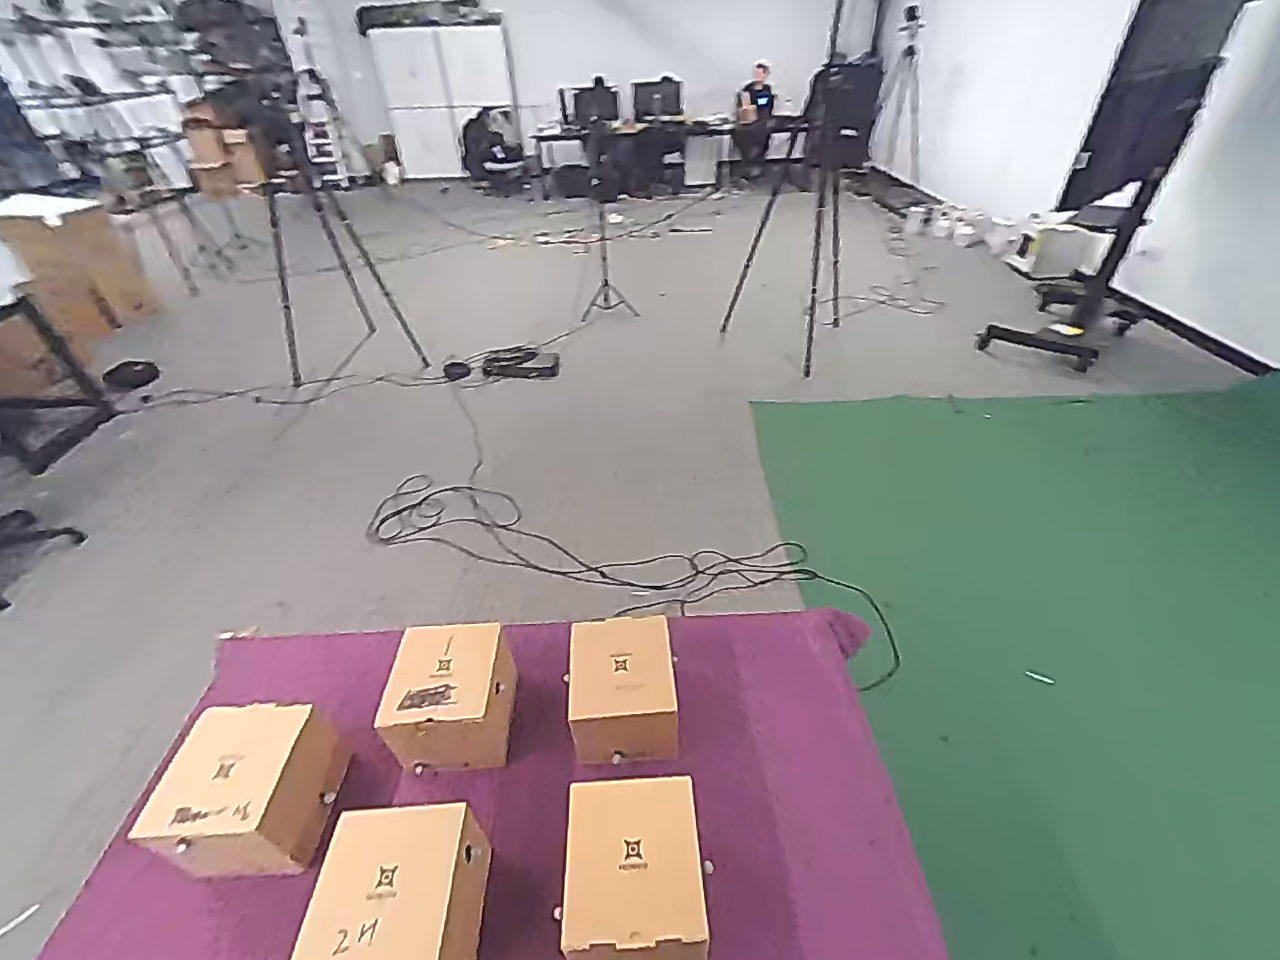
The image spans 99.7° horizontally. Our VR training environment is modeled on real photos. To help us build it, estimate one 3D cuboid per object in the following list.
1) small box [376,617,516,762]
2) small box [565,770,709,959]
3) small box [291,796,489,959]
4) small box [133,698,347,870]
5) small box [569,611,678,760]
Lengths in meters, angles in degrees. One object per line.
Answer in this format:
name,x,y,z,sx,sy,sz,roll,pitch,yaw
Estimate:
small box,-0.312,0.358,0.917,0.168,0.176,0.179,-3,39,-1
small box,-0.005,0.515,0.717,0.168,0.176,0.179,-3,39,-1
small box,-0.300,0.538,0.696,0.168,0.176,0.179,-3,39,-1
small box,-0.572,0.453,0.809,0.168,0.176,0.179,-3,39,1
small box,-0.028,0.348,0.920,0.168,0.176,0.179,-4,41,-1
